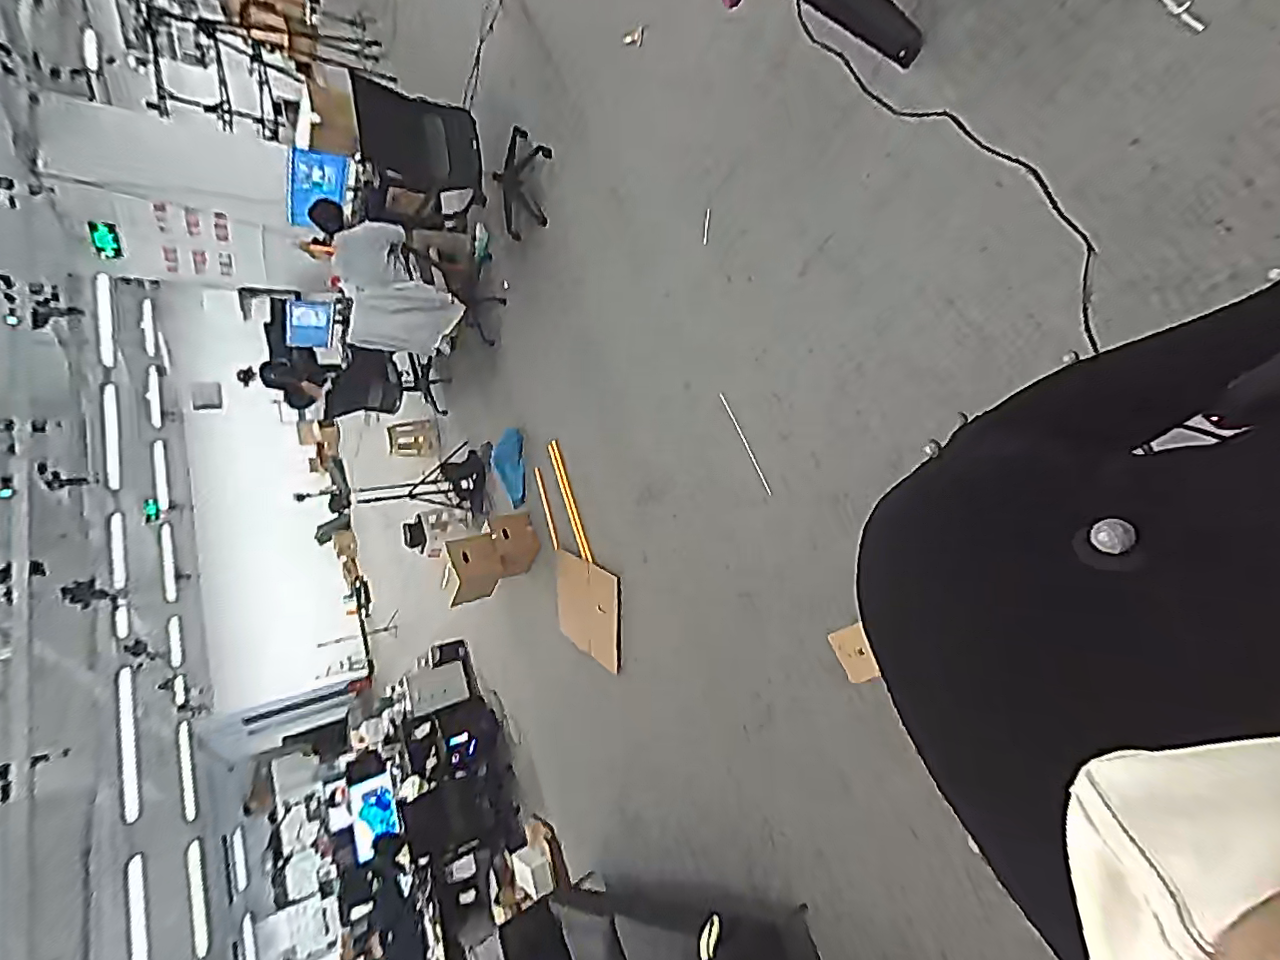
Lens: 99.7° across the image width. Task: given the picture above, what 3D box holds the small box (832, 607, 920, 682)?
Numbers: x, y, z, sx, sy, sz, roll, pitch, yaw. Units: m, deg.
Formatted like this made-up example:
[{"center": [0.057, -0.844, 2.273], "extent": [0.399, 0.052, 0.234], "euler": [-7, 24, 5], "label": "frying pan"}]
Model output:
[{"center": [0.771, 0.528, 1.749], "extent": [0.179, 0.176, 0.168], "euler": [-48, 58, 47], "label": "small box"}]
